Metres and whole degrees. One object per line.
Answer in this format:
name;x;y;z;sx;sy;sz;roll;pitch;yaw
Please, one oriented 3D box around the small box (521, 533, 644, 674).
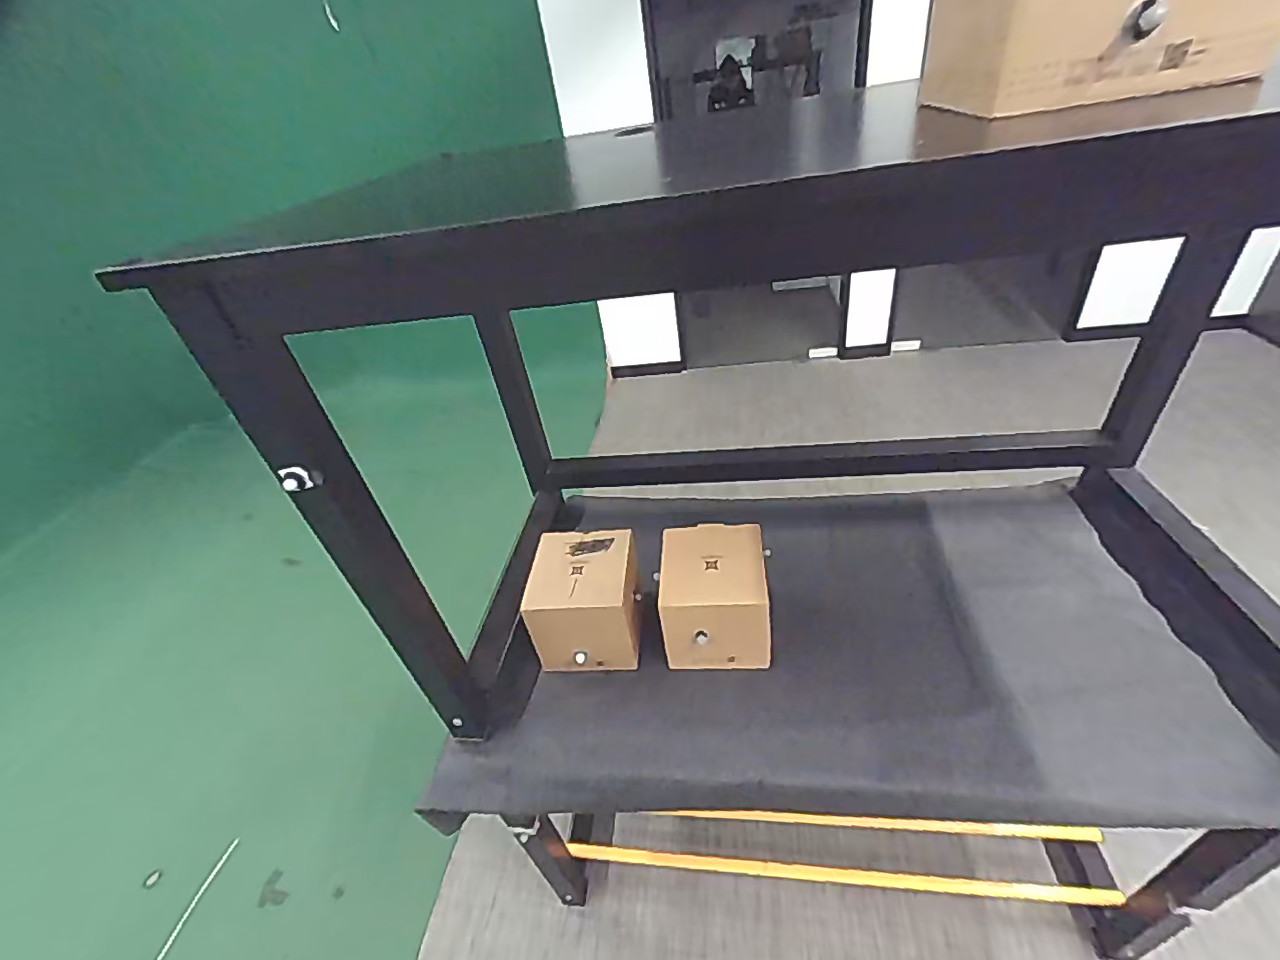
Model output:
small box;-0.089;0.213;0.941;0.168;0.176;0.179;-4;37;9
